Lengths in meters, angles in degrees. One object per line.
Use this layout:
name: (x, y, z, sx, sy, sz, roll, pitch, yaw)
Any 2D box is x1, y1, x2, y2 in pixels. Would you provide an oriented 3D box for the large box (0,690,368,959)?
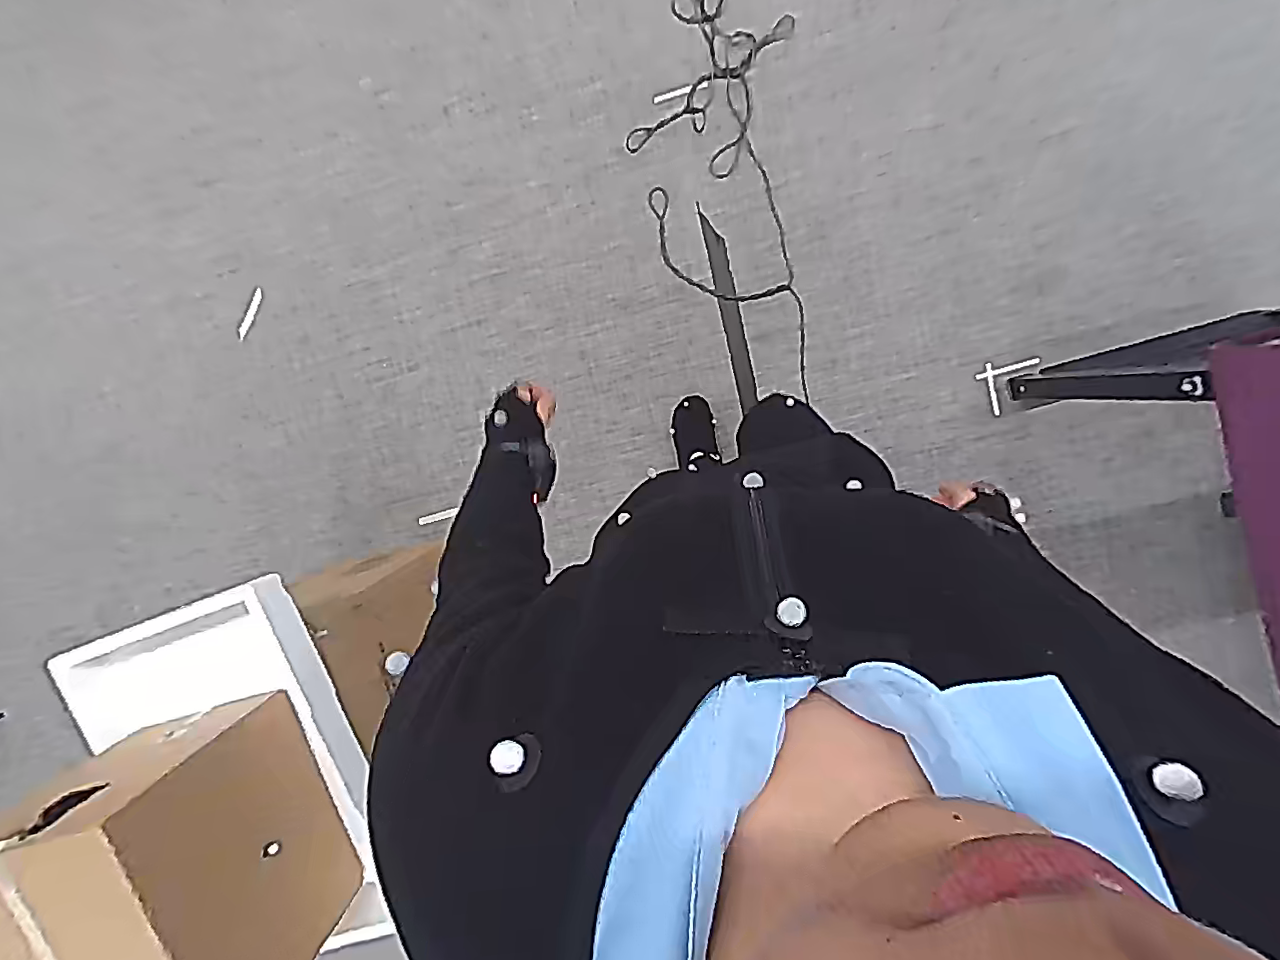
large box: (-0.716, 0.619, 0.848, 0.320, 0.320, 0.408, -17, 99, 8)
